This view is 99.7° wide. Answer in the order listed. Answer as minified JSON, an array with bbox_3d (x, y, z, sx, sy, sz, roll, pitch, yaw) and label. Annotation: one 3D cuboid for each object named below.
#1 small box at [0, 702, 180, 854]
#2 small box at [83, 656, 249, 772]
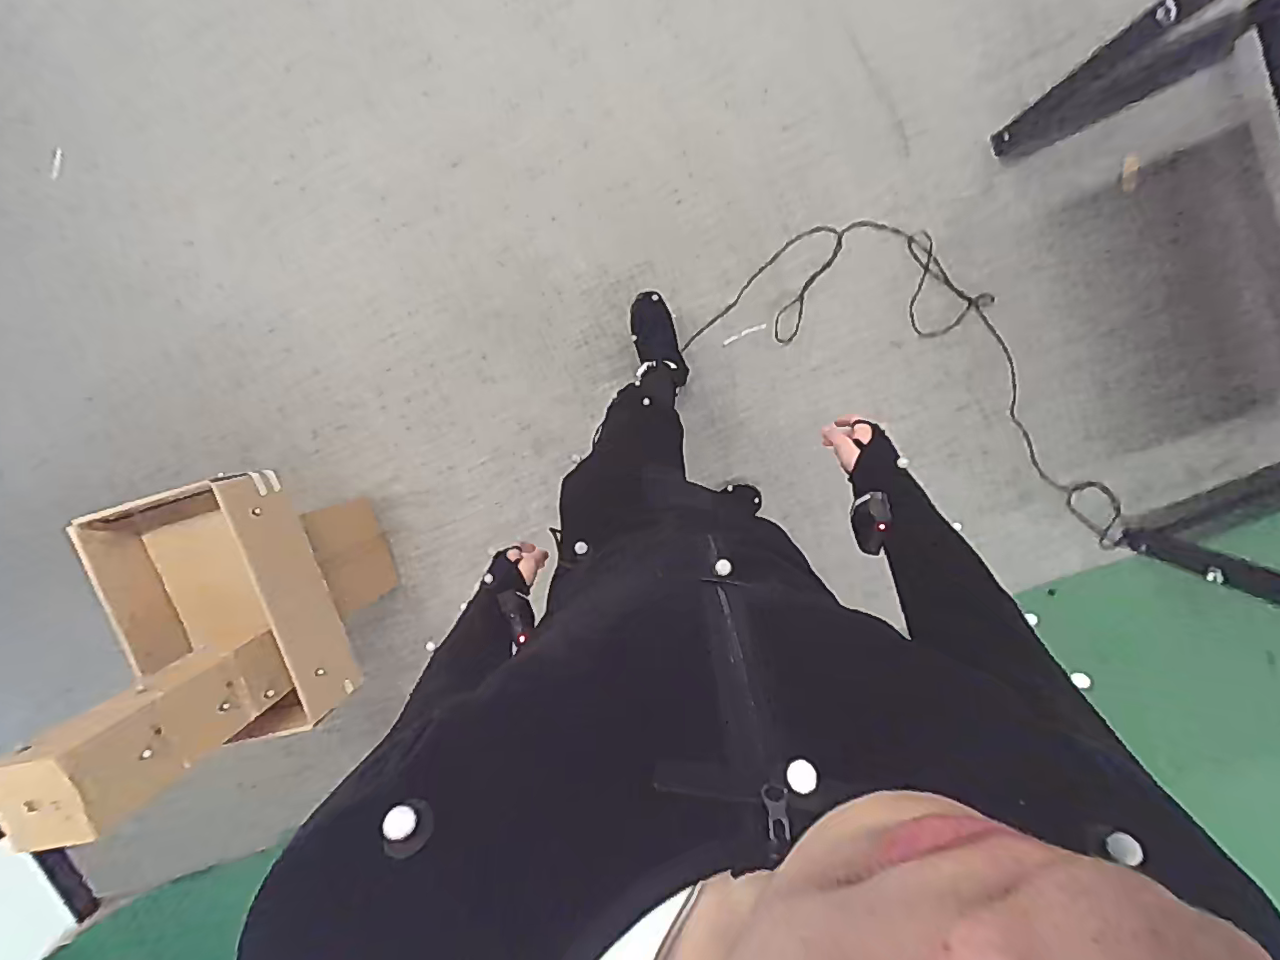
[{"bbox_3d":[-1.007,0.532,0.982,0.179,0.176,0.168,-12,101,7],"label":"small box"},{"bbox_3d":[-0.989,0.498,1.143,0.179,0.176,0.168,-13,100,7],"label":"small box"}]
